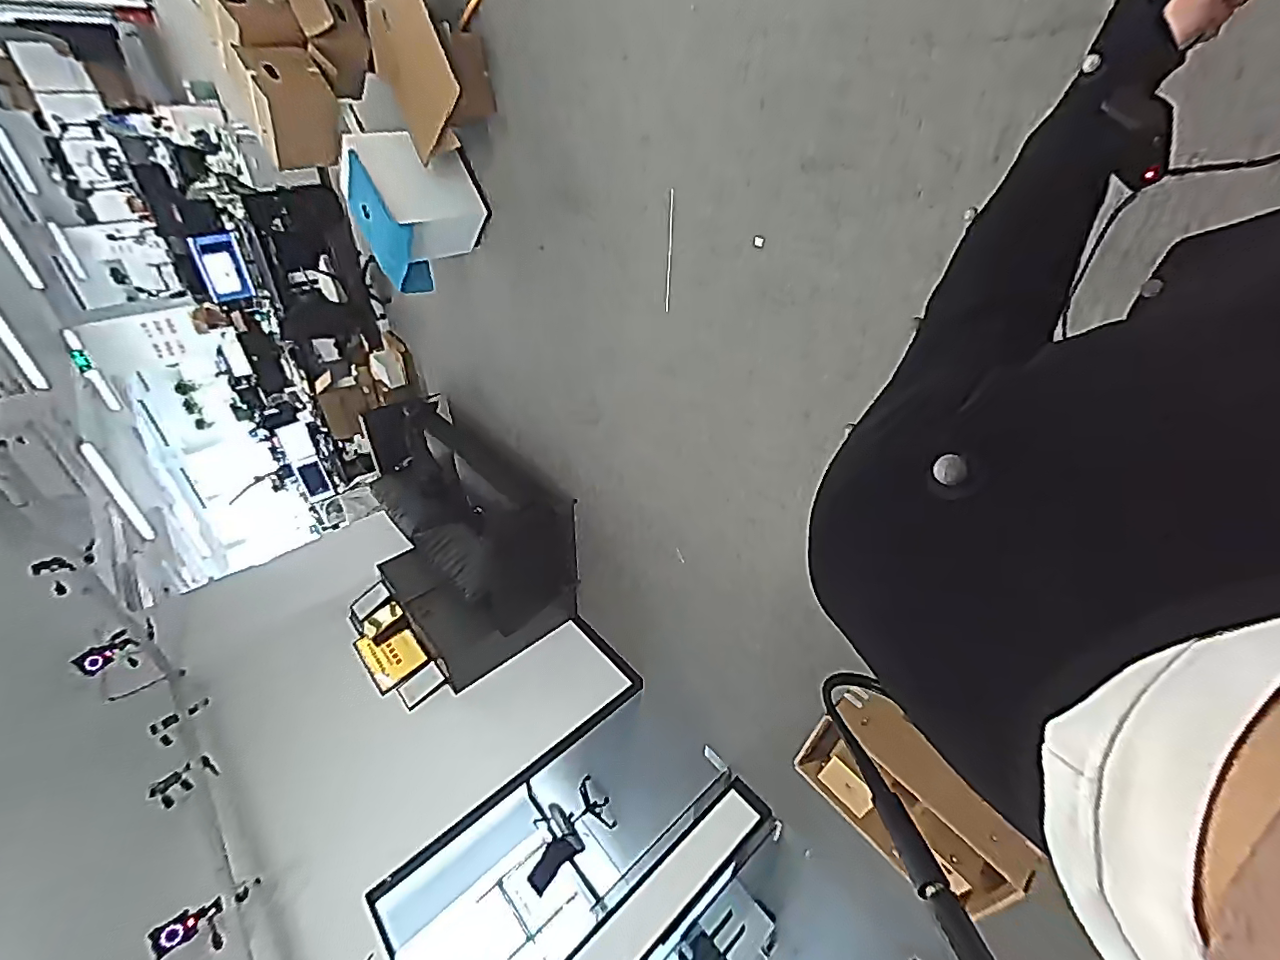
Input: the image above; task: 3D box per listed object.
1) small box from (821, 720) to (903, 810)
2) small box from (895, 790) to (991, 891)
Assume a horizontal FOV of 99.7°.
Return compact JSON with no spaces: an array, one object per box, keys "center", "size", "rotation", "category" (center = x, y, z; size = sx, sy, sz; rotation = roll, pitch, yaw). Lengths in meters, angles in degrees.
[{"center":[0.732,0.930,1.775],"size":[0.168,0.176,0.179],"rotation":[39,141,32],"category":"small box"},{"center":[0.914,1.083,1.629],"size":[0.168,0.176,0.179],"rotation":[40,141,29],"category":"small box"}]
